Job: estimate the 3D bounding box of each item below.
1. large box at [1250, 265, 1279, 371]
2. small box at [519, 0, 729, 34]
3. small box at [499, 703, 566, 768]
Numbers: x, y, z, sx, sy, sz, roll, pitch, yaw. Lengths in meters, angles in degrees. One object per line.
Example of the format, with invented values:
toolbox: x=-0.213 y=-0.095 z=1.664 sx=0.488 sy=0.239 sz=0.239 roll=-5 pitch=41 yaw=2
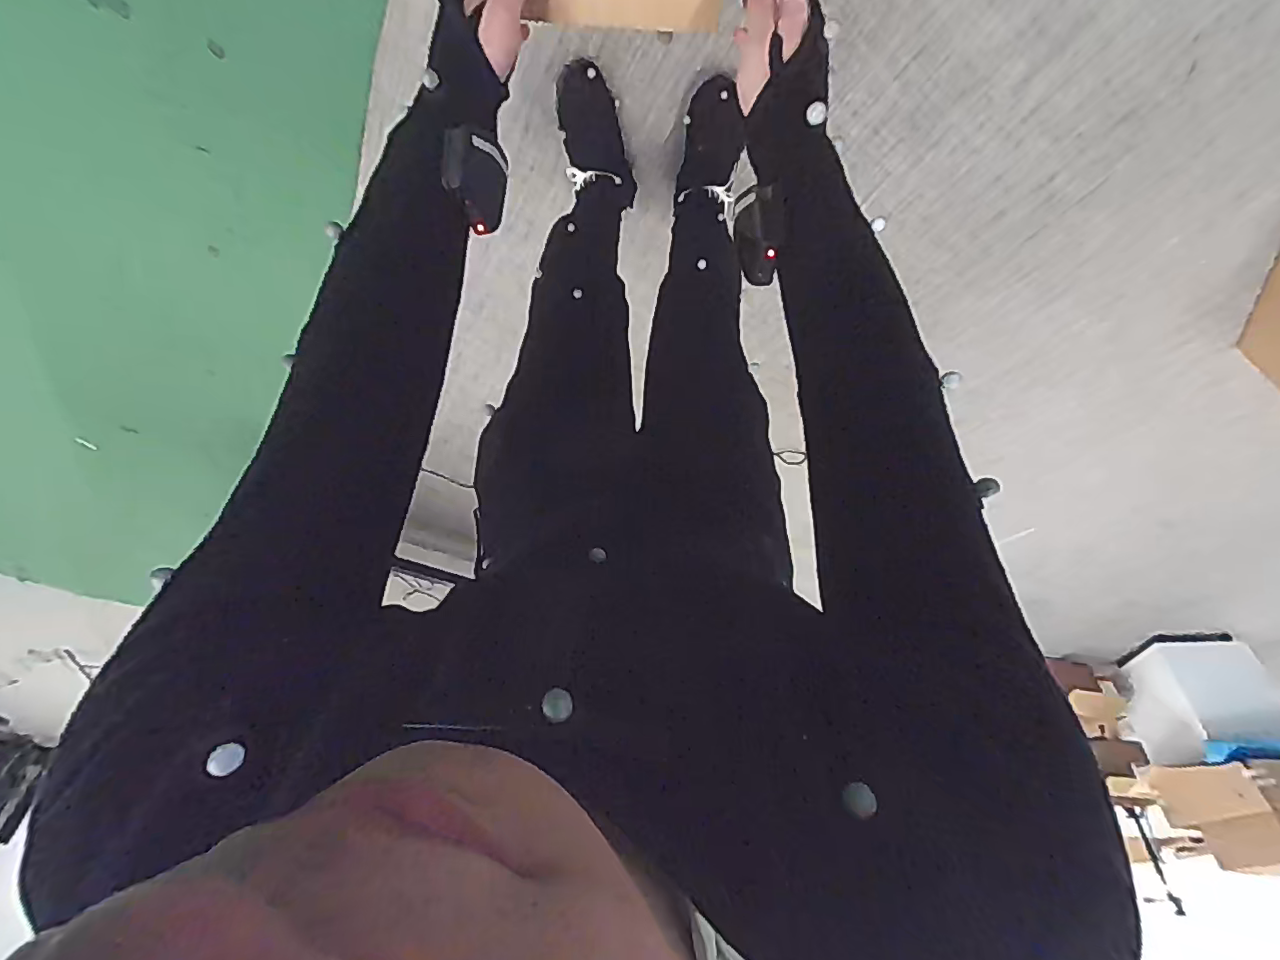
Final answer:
large box: x=1.615 y=-0.393 z=1.122 sx=0.320 sy=0.320 sz=0.408 roll=-15 pitch=138 yaw=22
small box: x=-0.007 y=-0.499 z=0.443 sx=0.179 sy=0.176 sz=0.168 roll=4 pitch=142 yaw=-1
small box: x=-0.368 y=0.891 z=1.879 sx=0.168 sy=0.176 sz=0.179 roll=21 pitch=141 yaw=-22
